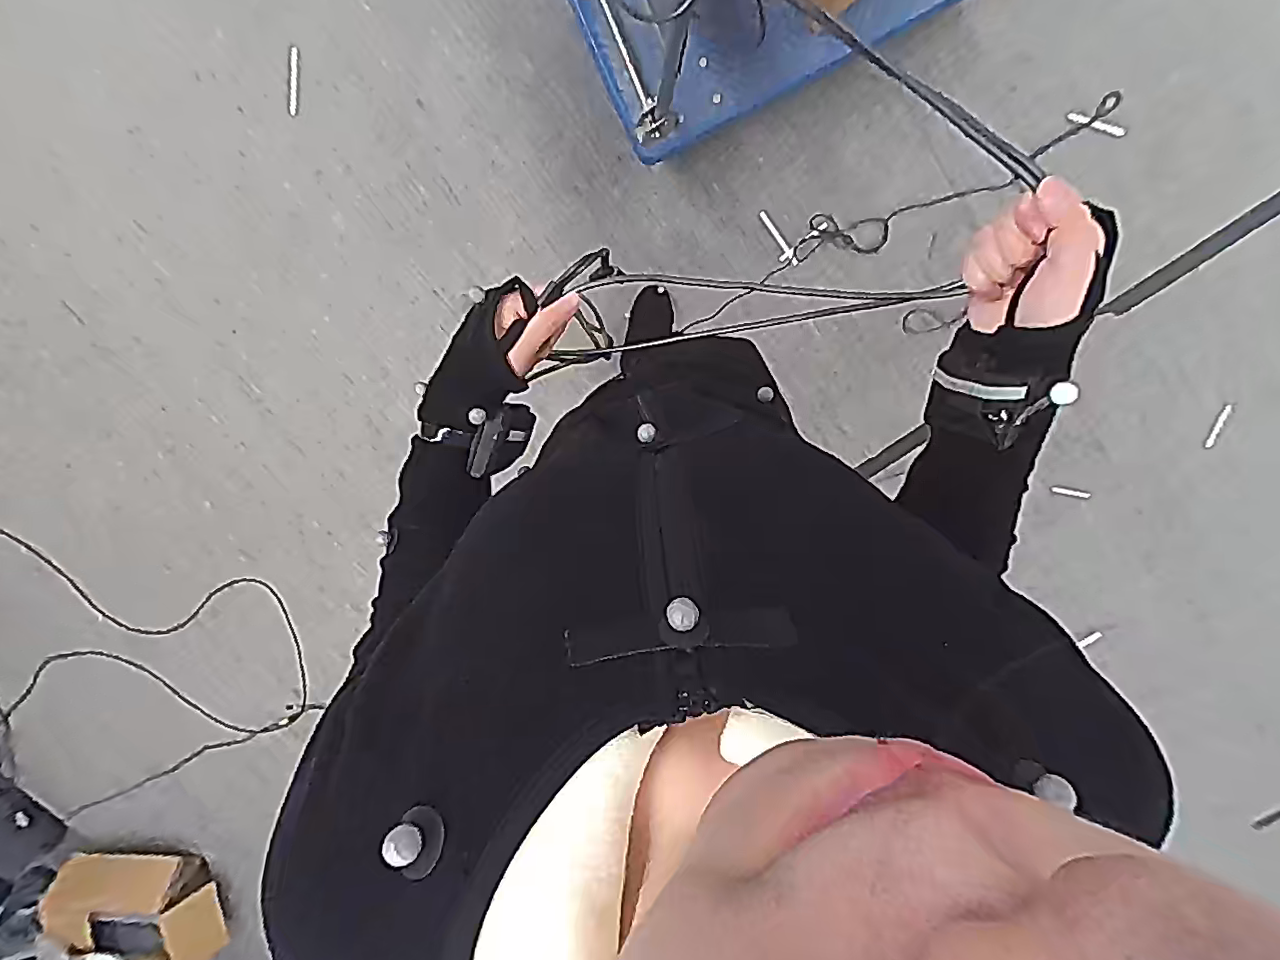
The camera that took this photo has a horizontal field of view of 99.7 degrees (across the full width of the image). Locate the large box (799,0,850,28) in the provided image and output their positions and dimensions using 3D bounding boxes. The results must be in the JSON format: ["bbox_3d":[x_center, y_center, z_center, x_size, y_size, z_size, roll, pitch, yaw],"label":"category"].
[{"bbox_3d":[0.332,-1.069,0.841,0.320,0.320,0.408,-38,103,12],"label":"large box"}]
